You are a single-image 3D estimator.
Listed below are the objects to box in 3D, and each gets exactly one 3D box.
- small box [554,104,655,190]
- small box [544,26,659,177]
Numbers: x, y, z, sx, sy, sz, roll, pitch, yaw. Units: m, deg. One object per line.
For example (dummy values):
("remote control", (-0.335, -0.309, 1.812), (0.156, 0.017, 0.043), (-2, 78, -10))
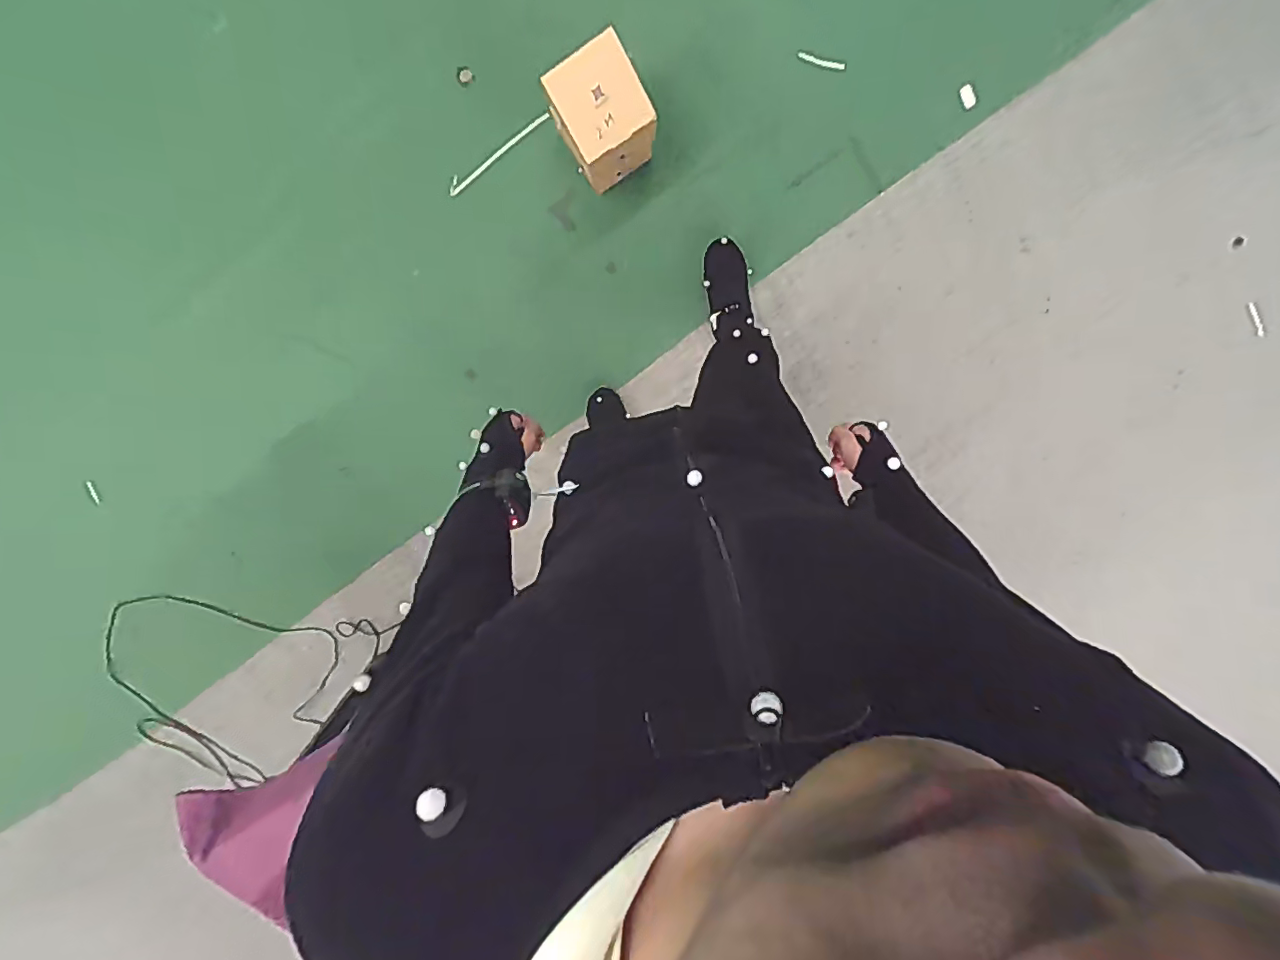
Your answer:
("small box", (-0.081, -0.823, 1.277), (0.168, 0.176, 0.179), (-31, 106, 10))
("small box", (-0.075, -0.768, 1.122), (0.168, 0.176, 0.179), (-29, 107, 9))
